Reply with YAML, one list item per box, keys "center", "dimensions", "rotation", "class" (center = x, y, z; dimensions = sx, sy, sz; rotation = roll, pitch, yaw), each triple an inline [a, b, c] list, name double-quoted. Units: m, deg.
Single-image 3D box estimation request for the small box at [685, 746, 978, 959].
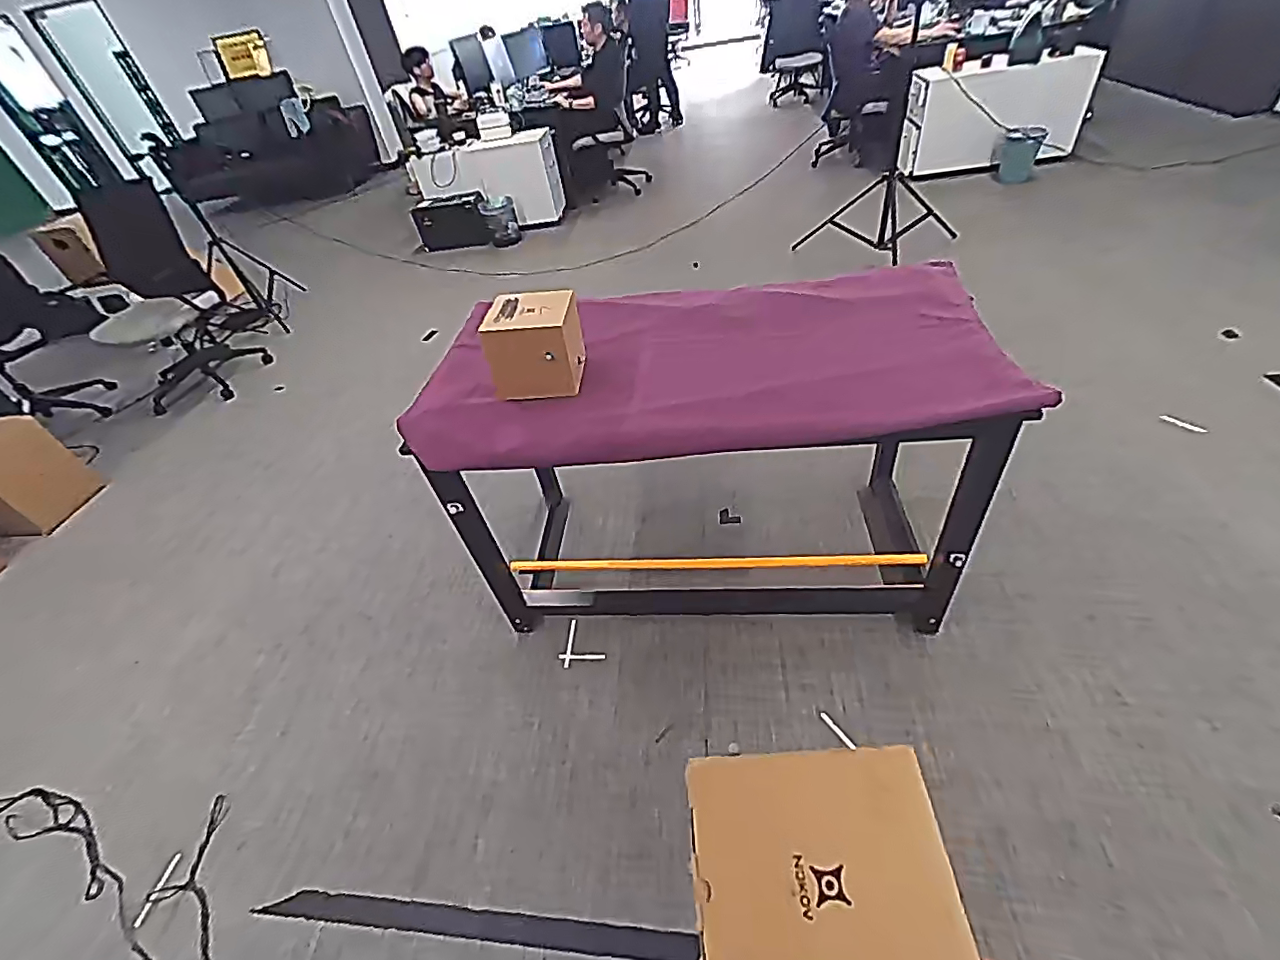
- center: [0.134, 0.320, 0.432]
  dimensions: [0.179, 0.176, 0.168]
  rotation: [-8, 53, 5]
  class: "small box"
